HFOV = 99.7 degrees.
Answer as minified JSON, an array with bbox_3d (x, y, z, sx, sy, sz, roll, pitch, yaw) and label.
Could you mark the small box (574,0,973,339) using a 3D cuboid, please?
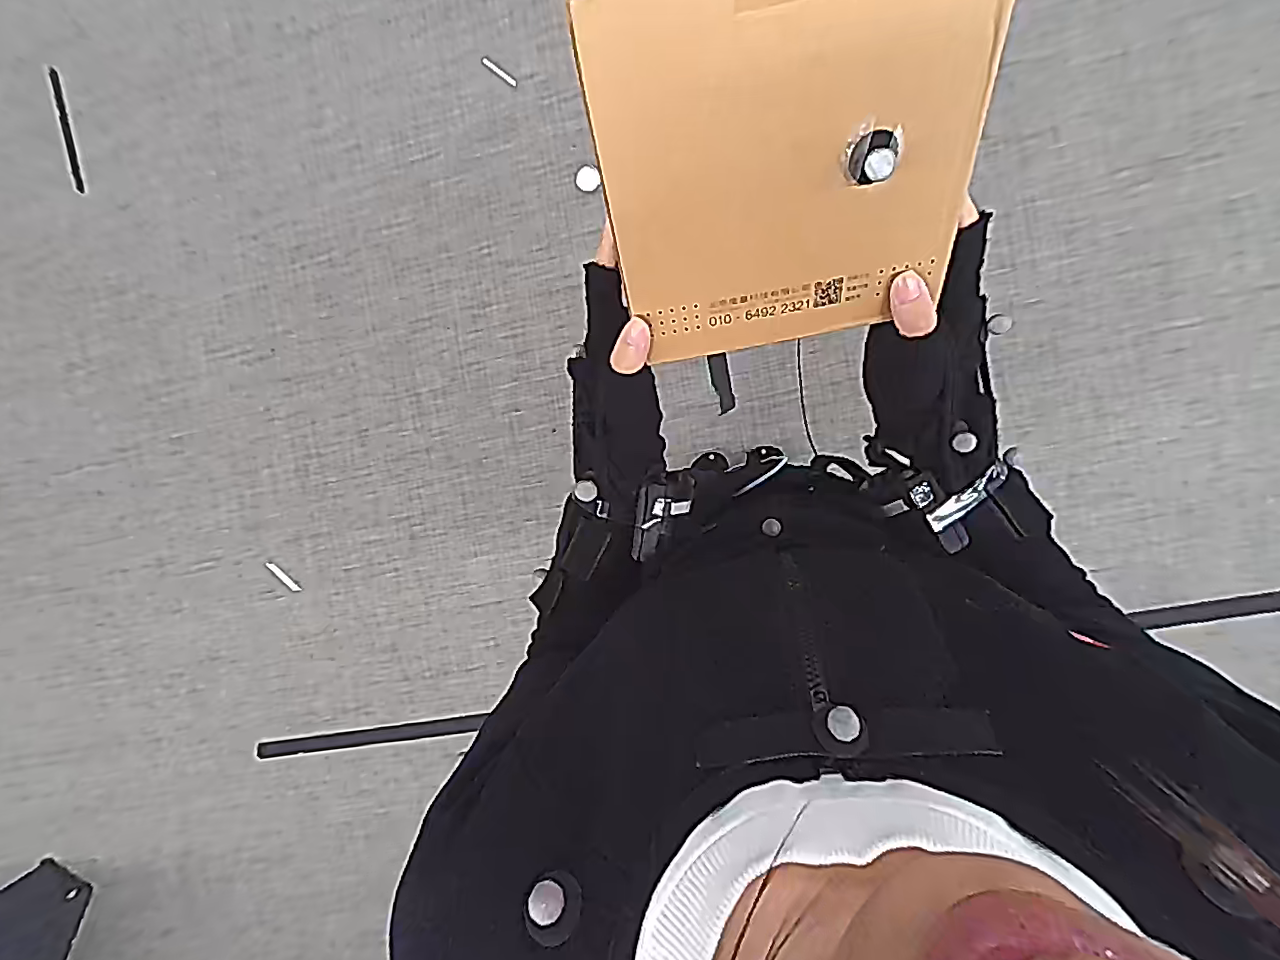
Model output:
[{"bbox_3d":[0.065,-0.199,0.318,0.168,0.176,0.179,-8,47,6],"label":"small box"}]
